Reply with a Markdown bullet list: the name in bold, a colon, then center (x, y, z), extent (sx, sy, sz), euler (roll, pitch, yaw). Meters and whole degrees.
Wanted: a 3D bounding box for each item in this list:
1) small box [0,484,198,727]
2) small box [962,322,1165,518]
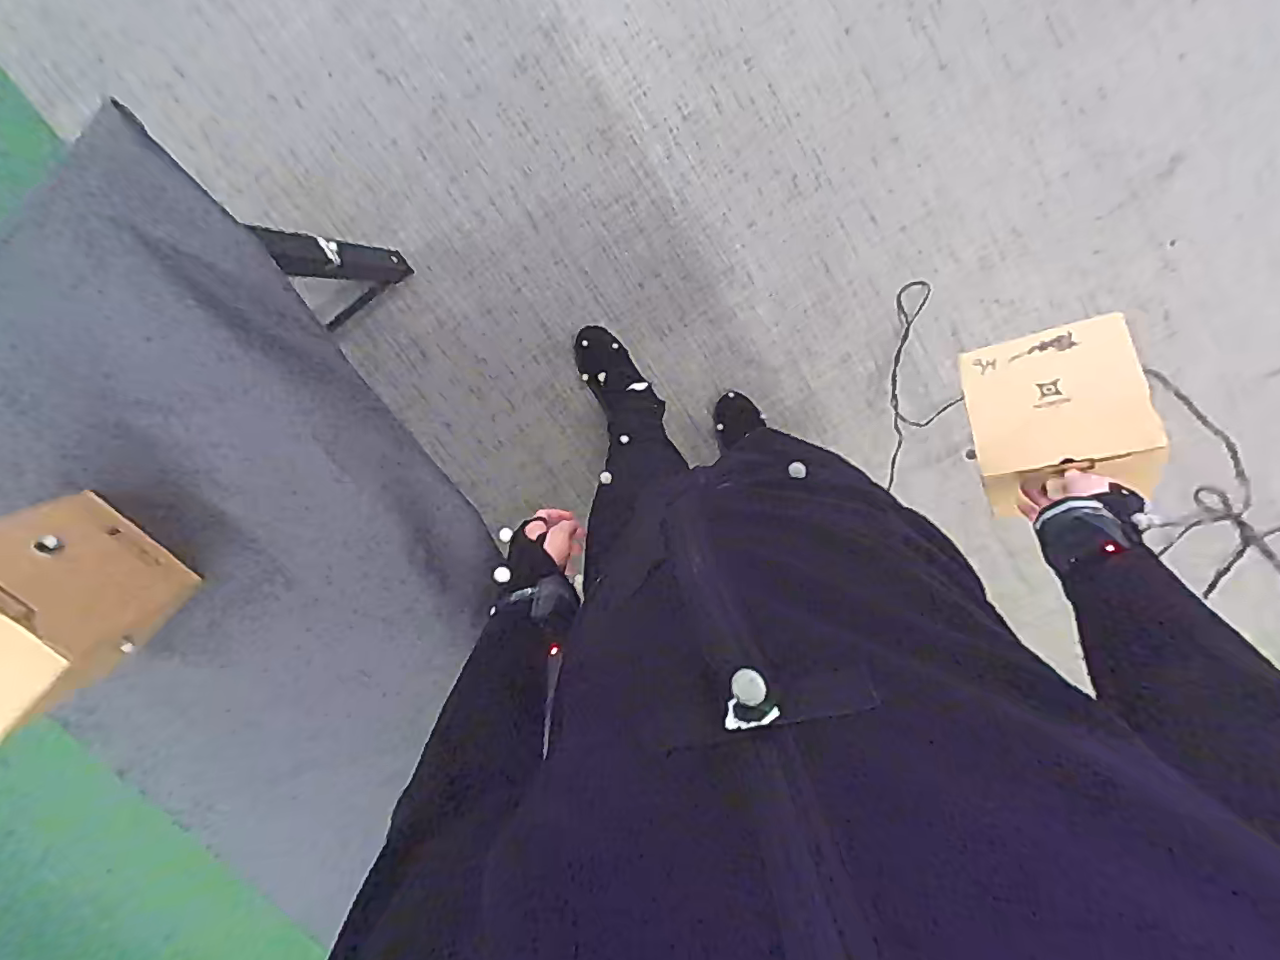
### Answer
- **small box**: center (-0.669, 0.130, 0.621), extent (0.179, 0.176, 0.168), euler (-40, 100, 14)
- **small box**: center (0.520, -0.059, 0.679), extent (0.168, 0.179, 0.176), euler (-11, 151, 34)
